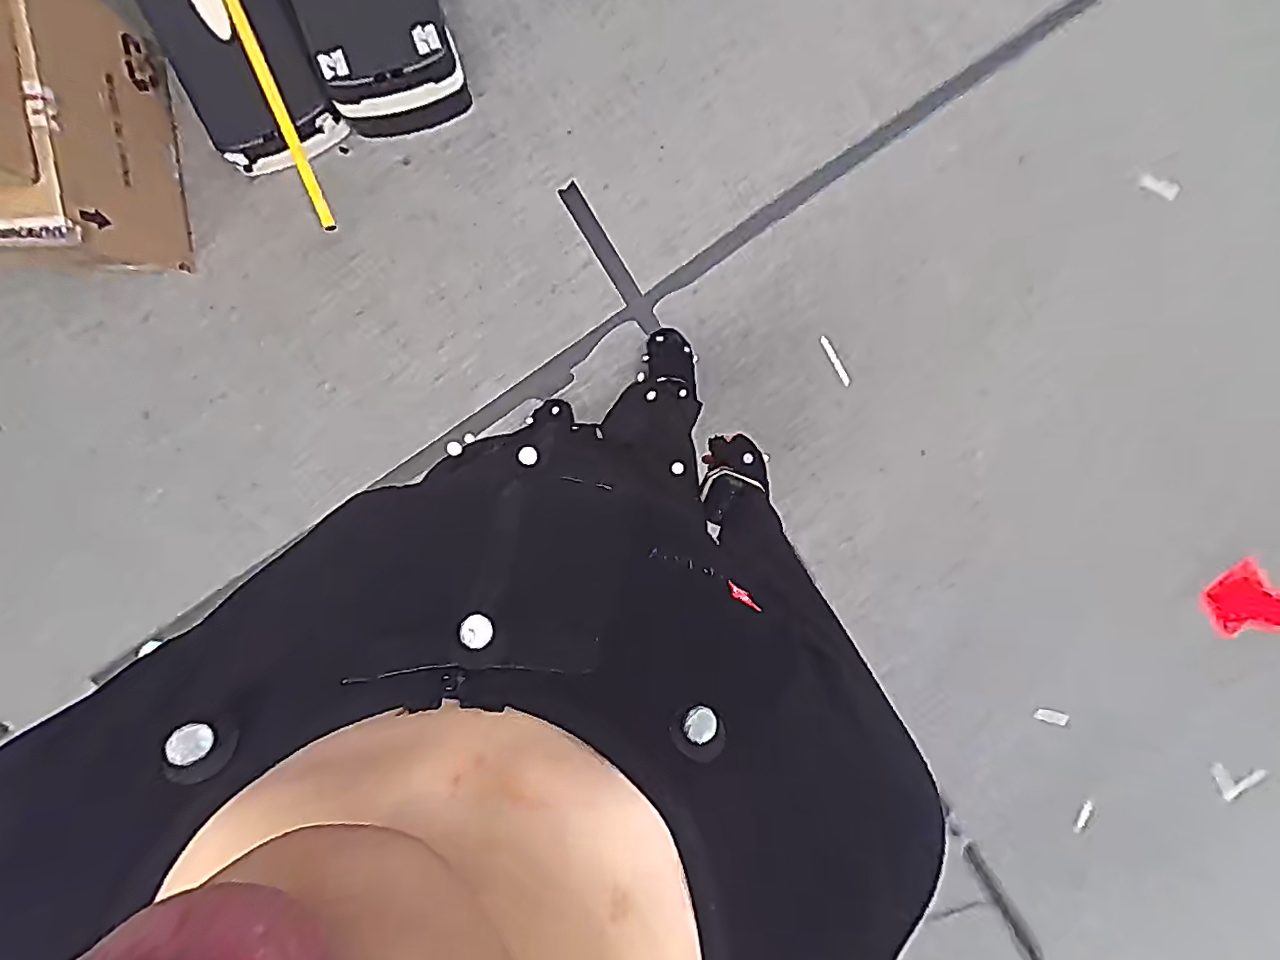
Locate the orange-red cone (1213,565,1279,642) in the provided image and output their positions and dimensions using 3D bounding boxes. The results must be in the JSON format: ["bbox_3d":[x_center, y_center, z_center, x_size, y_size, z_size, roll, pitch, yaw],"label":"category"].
[{"bbox_3d":[1.911,0.410,1.517,0.198,0.360,0.199,-38,99,1],"label":"orange-red cone"}]
